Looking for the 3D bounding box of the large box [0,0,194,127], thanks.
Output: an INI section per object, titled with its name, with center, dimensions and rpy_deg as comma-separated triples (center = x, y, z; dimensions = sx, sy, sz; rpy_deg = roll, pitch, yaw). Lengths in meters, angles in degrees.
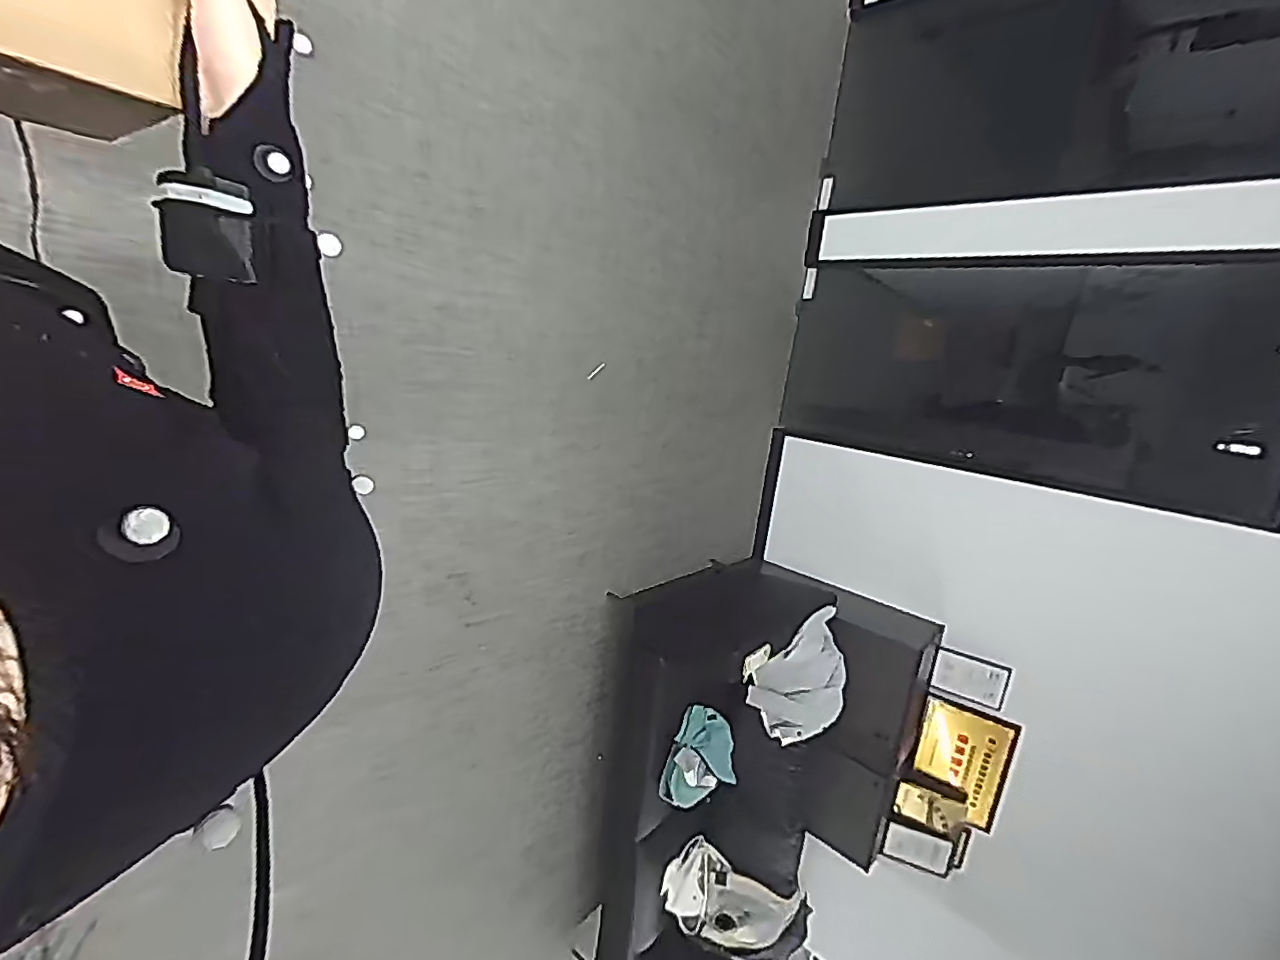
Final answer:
[large box]
center = -0.514, -0.414, 0.251
dimensions = 0.408, 0.320, 0.320
rpy_deg = -12, 118, -50
